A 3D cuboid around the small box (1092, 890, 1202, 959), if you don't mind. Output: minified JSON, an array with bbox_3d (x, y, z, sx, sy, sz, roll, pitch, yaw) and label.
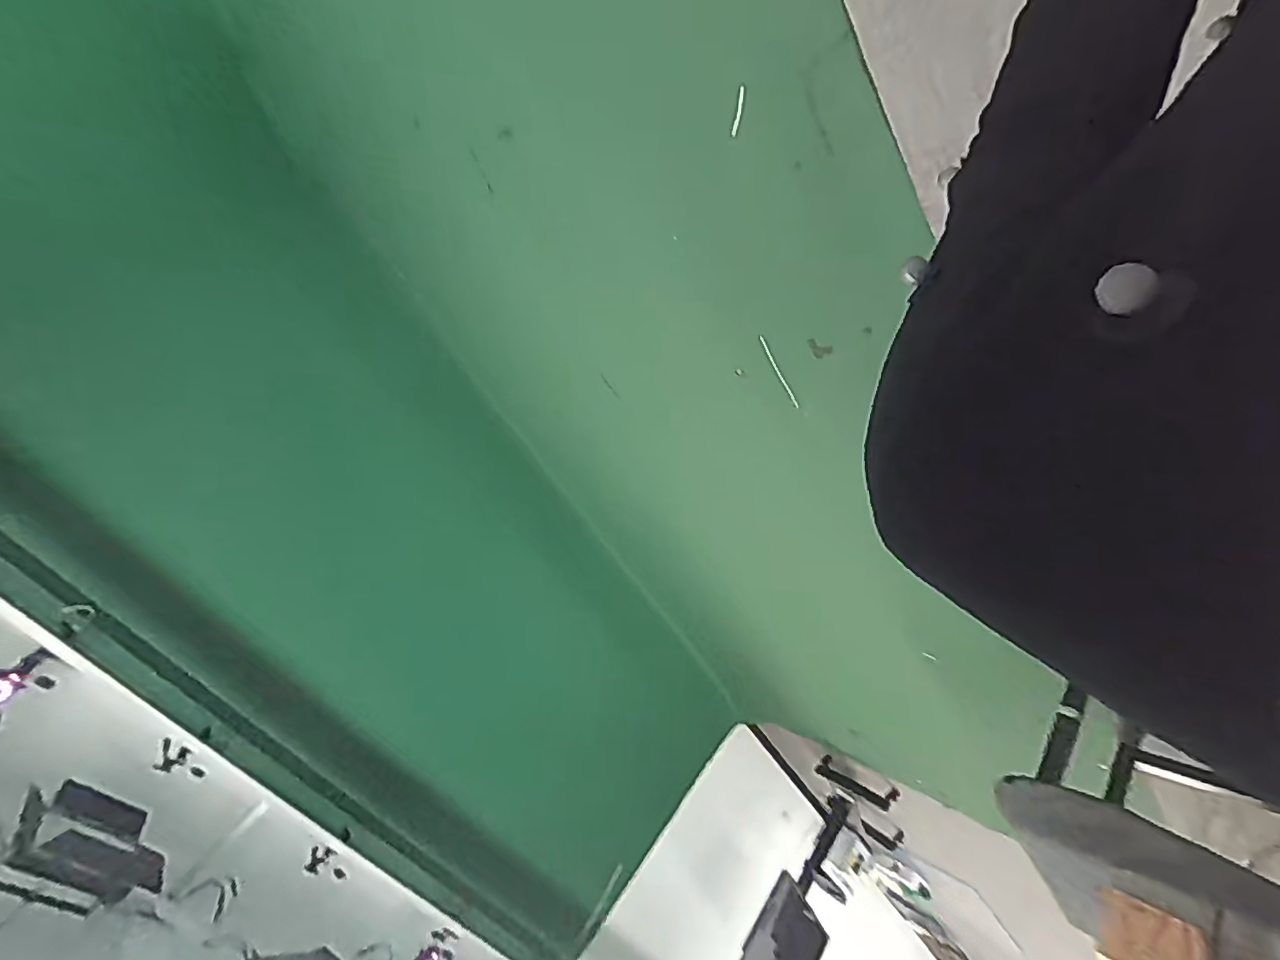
[{"bbox_3d":[1.264,1.183,1.344,0.168,0.176,0.179,0,132,54],"label":"small box"}]
